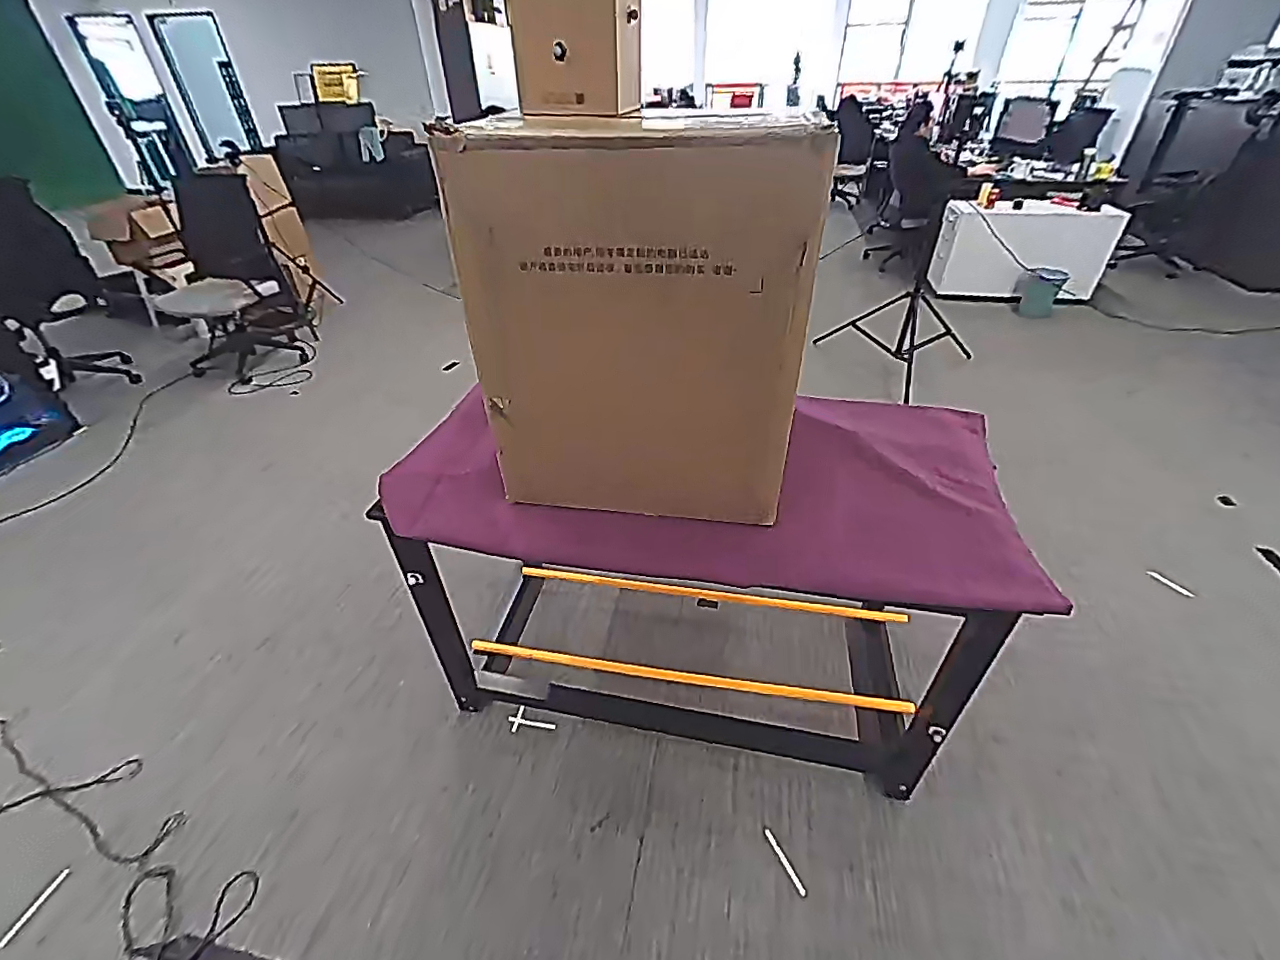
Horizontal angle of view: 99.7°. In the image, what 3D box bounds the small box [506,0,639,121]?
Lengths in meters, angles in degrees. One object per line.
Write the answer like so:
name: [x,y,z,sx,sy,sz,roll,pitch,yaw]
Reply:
small box: [-0.096,-0.686,0.873,0.168,0.176,0.179,8,38,10]
